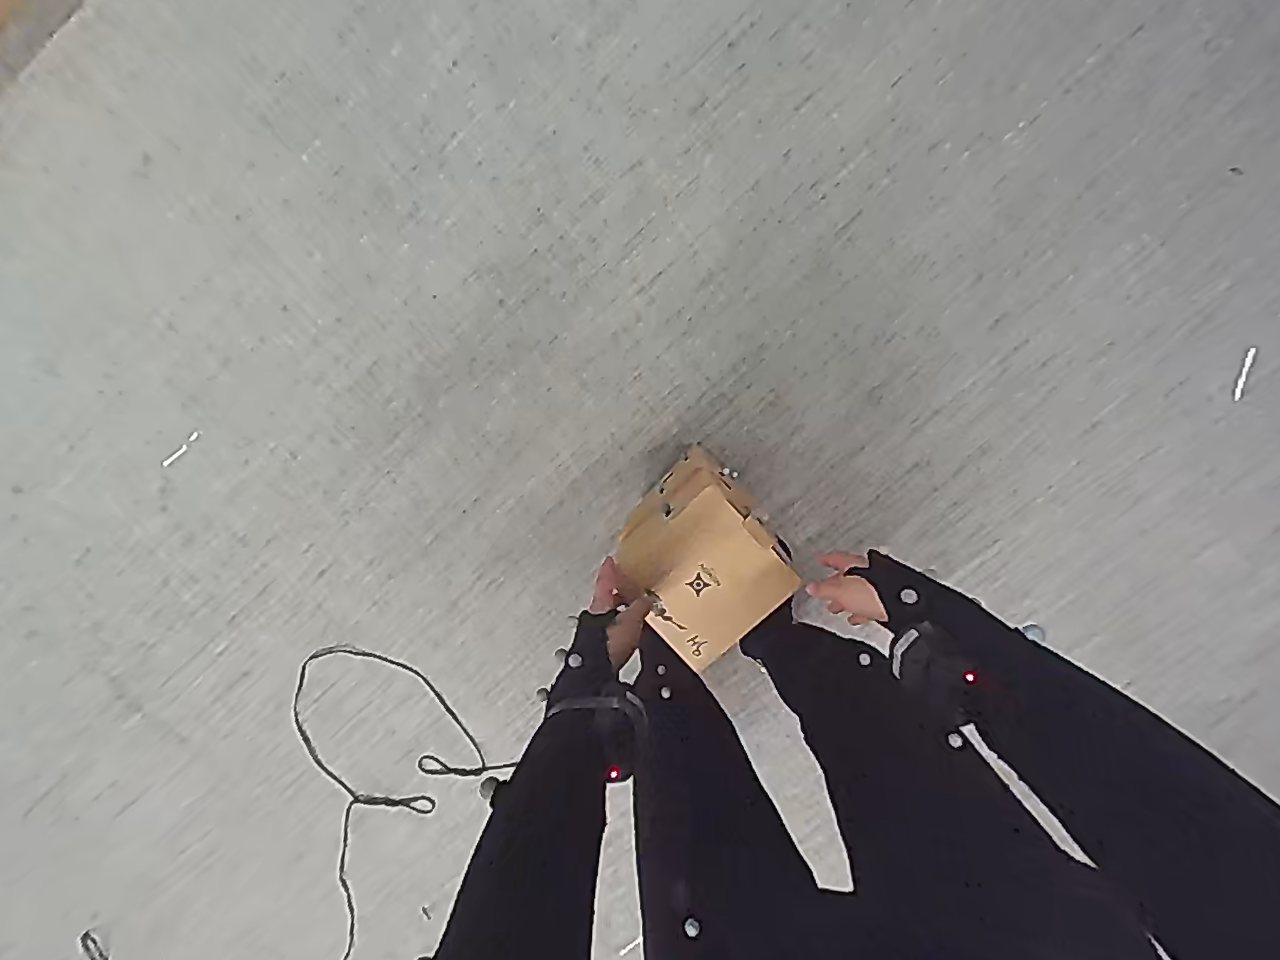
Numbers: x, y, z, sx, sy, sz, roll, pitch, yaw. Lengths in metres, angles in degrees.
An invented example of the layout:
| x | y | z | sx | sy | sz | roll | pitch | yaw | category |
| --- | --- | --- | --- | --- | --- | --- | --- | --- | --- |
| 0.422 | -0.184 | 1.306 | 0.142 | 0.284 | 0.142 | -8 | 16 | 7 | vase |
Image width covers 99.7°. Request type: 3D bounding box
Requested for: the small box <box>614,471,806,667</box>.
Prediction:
| x | y | z | sx | sy | sz | roll | pitch | yaw | category |
| --- | --- | --- | --- | --- | --- | --- | --- | --- | --- |
| 0.086 | 0.104 | 0.726 | 0.179 | 0.176 | 0.168 | -42 | 92 | 7 | small box |

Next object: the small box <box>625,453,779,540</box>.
| x | y | z | sx | sy | sz | roll | pitch | yaw | category |
| --- | --- | --- | --- | --- | --- | --- | --- | --- | --- |
| 0.096 | 0.071 | 0.887 | 0.179 | 0.176 | 0.168 | -43 | 92 | 9 | small box |
